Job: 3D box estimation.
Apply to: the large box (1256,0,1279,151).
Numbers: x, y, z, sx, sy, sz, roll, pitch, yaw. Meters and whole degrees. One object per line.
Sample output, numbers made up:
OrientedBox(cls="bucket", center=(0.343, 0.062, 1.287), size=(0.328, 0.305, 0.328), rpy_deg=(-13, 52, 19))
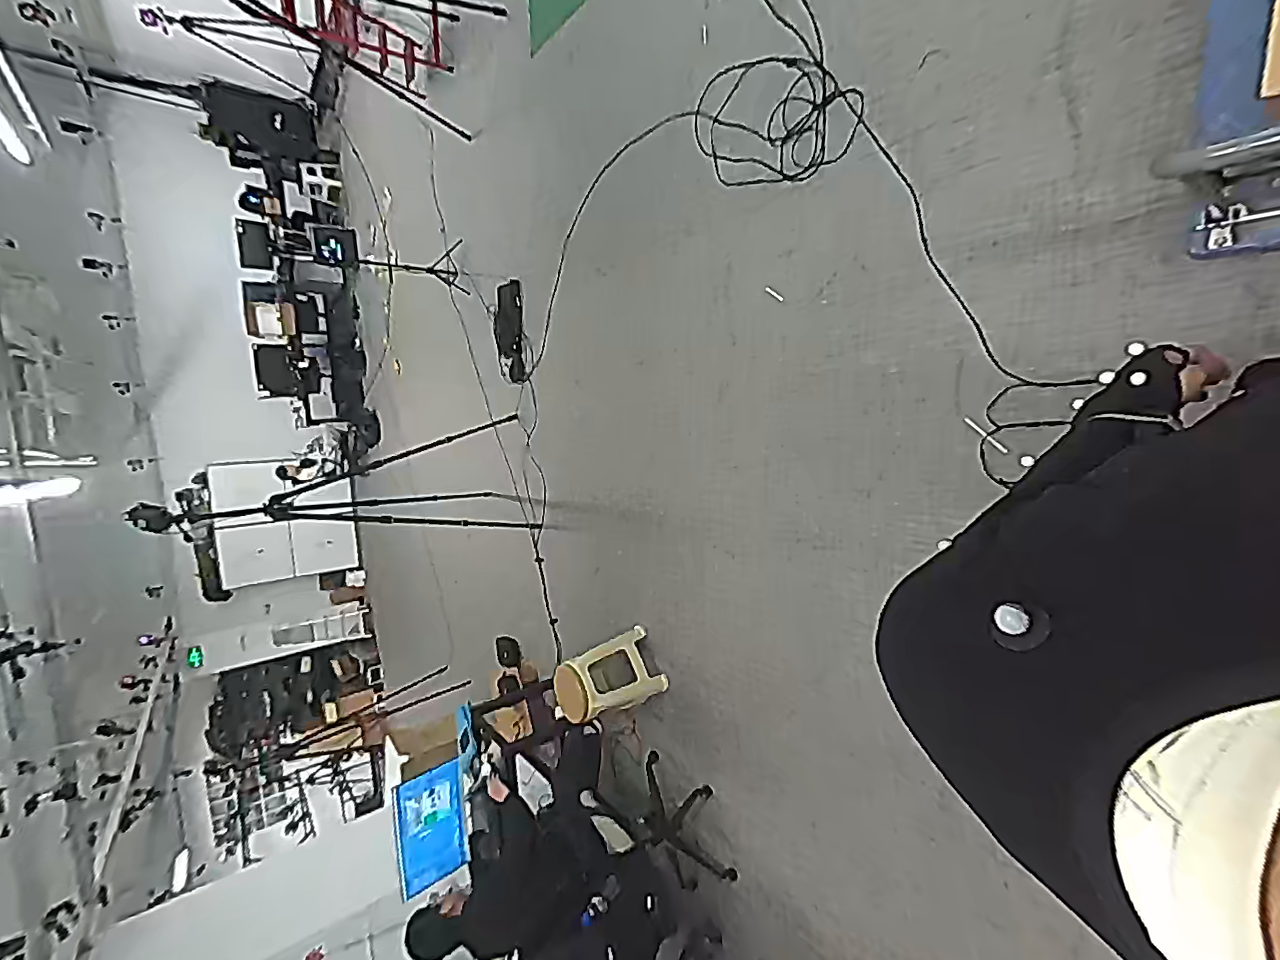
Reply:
OrientedBox(cls="large box", center=(1.075, -0.728, 0.702), size=(0.320, 0.320, 0.408), rpy_deg=(11, 104, 50))
